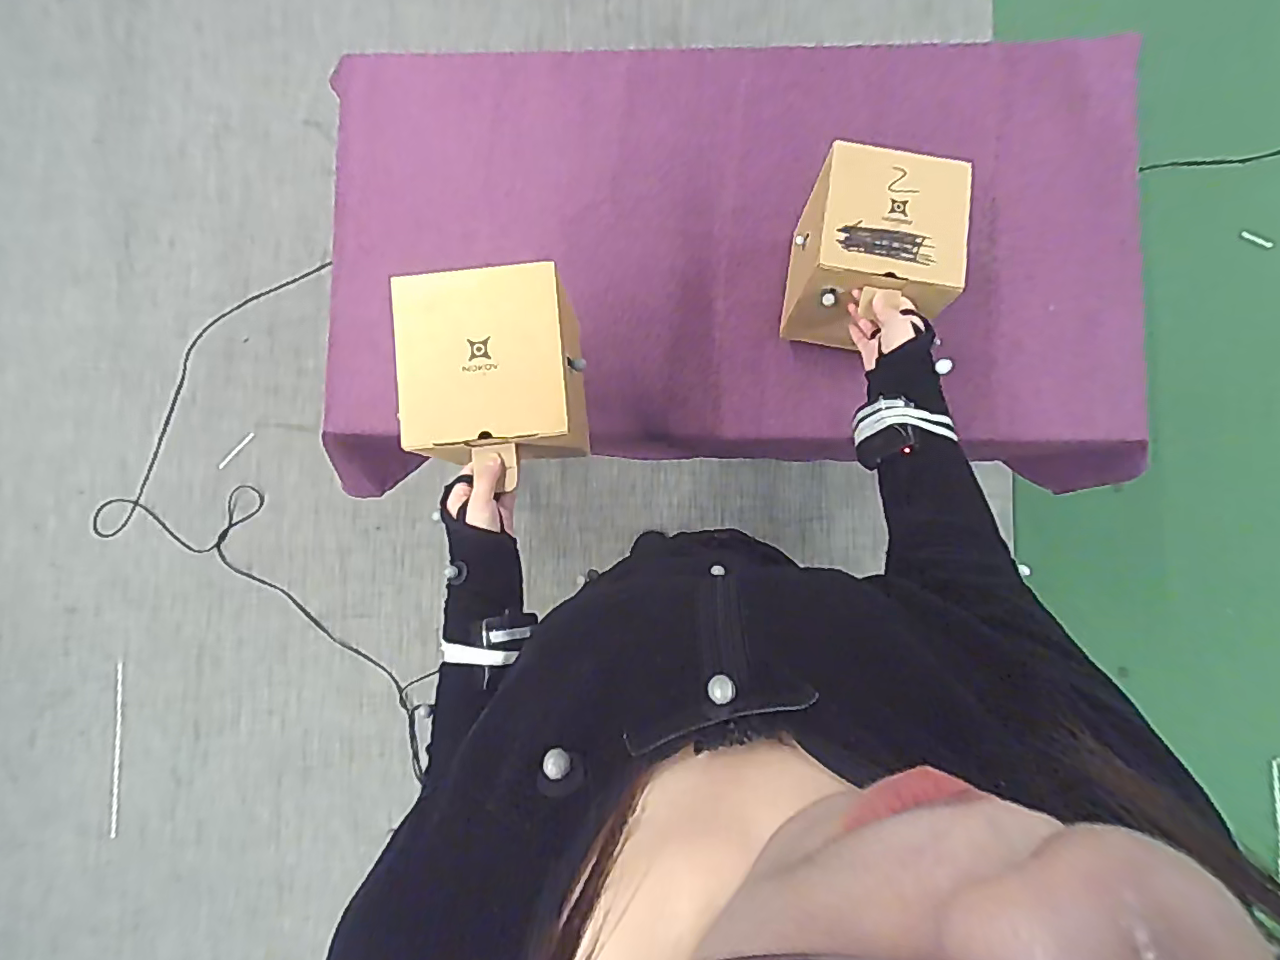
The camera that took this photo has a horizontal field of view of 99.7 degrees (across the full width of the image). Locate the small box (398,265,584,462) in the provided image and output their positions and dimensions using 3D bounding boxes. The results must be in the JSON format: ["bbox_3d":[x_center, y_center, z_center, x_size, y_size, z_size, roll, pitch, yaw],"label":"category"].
[{"bbox_3d":[-0.159,-0.122,0.625,0.168,0.176,0.179,-5,86,1],"label":"small box"}]
